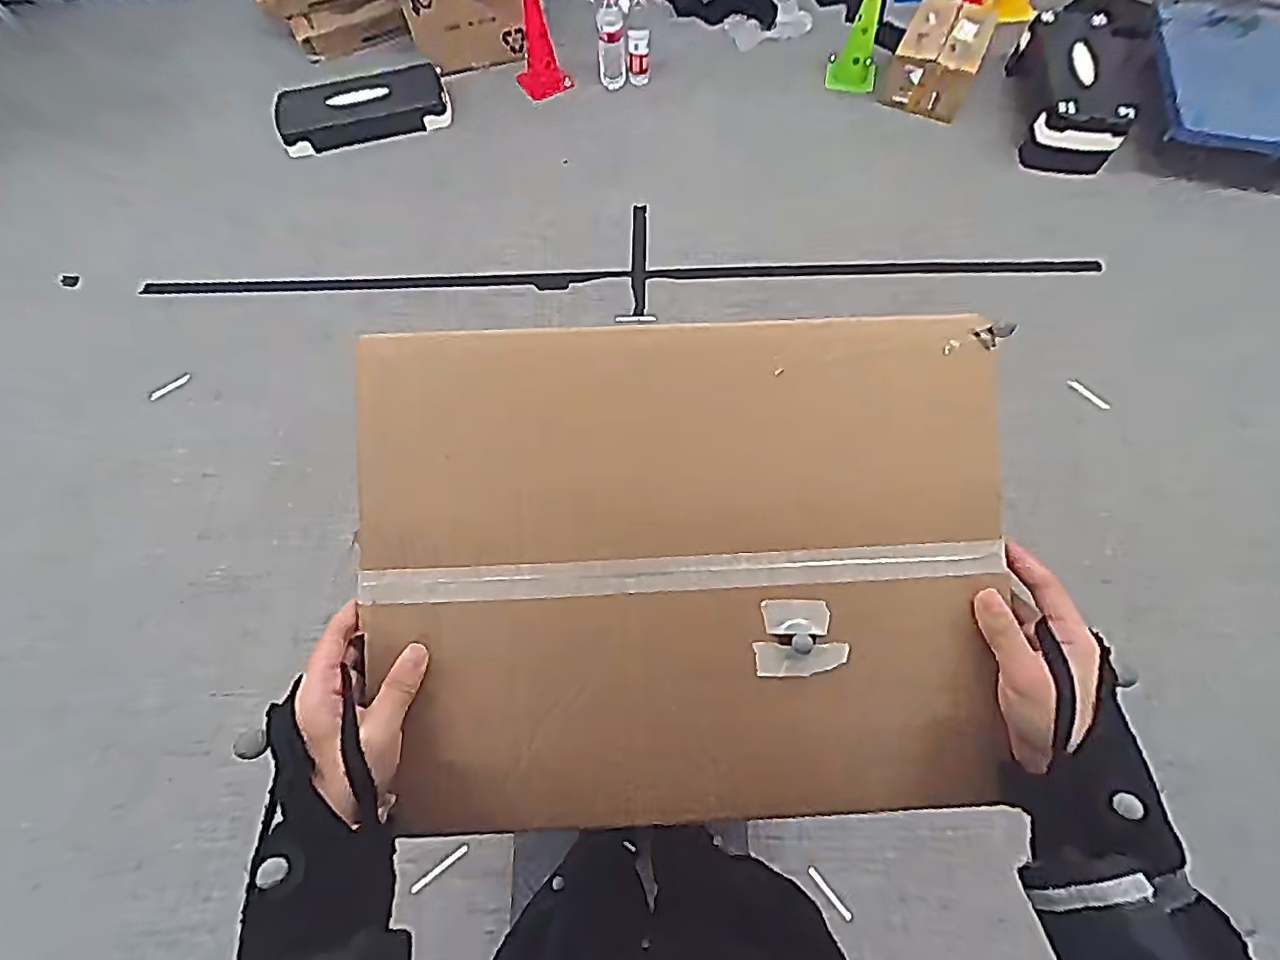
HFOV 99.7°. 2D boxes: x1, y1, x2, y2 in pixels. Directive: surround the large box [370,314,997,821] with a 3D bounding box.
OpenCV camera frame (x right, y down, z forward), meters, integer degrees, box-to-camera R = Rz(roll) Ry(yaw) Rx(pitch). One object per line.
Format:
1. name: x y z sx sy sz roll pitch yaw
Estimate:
1. large box: 0.024 0.058 0.502 0.408 0.320 0.320 -3 89 -2
